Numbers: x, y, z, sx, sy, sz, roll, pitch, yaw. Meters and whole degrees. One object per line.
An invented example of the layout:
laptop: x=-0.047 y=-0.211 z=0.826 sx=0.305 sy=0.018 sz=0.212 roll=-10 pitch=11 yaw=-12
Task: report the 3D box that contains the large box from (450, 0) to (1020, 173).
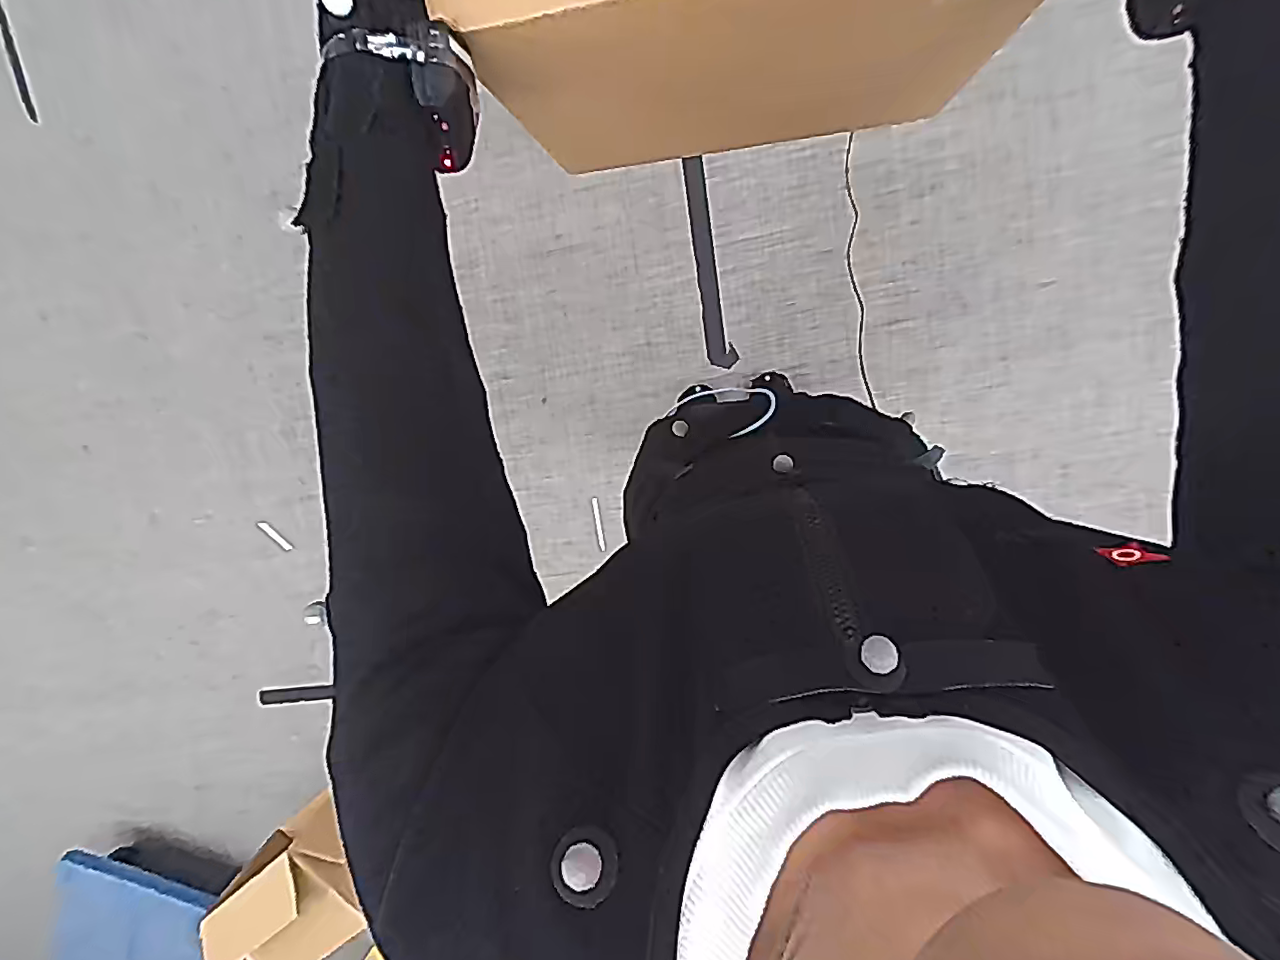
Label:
large box: x=0.074 y=-0.487 z=0.428 sx=0.408 sy=0.320 sz=0.320 roll=-5 pitch=104 yaw=9
